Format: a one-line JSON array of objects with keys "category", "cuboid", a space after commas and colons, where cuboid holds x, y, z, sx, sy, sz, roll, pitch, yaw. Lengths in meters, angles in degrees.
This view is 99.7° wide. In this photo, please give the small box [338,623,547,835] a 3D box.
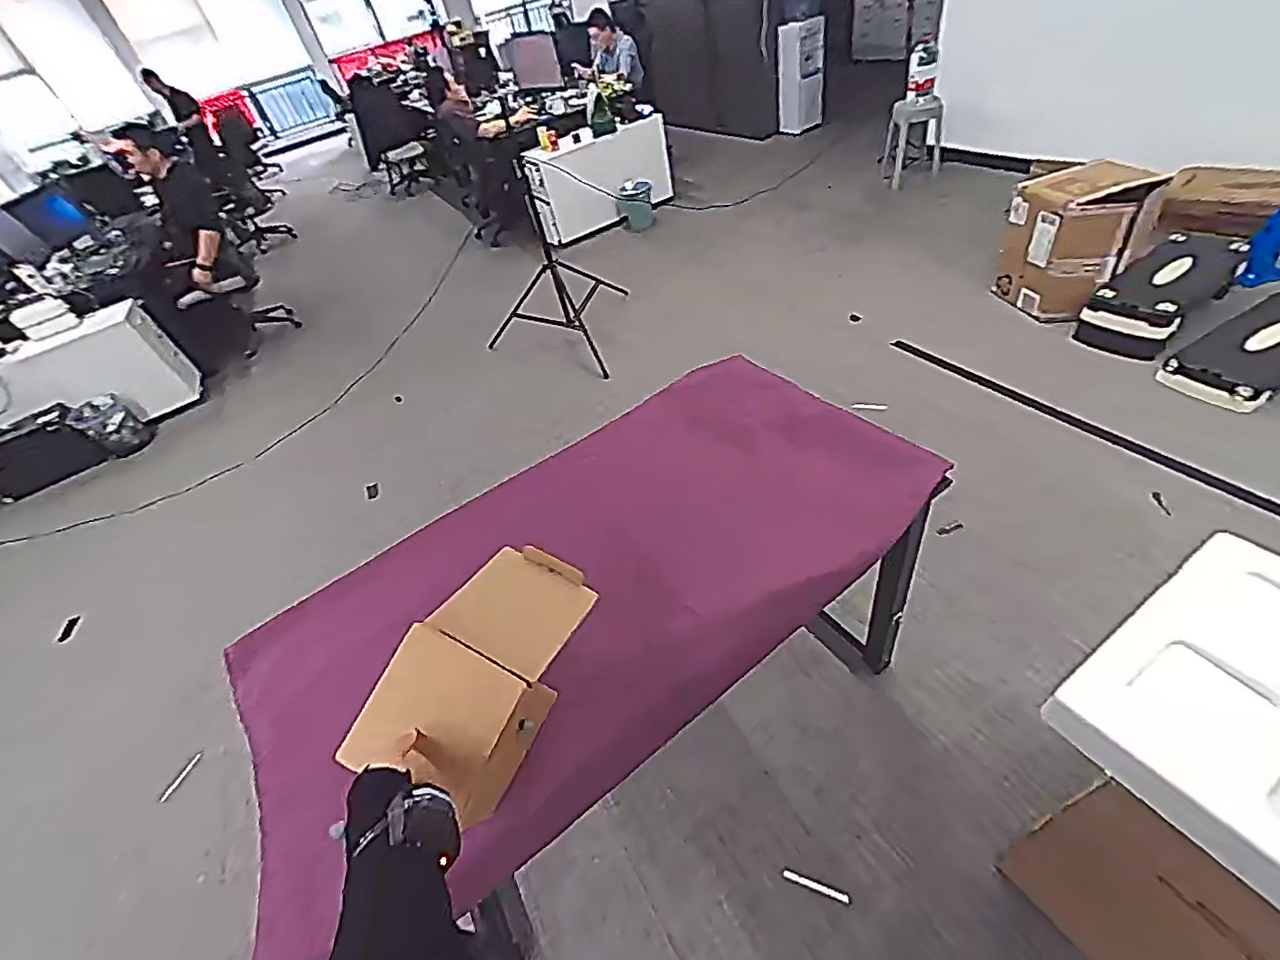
[{"category": "small box", "cuboid": [-0.238, 0.319, 0.708, 0.168, 0.176, 0.179, 27, 67, 14]}]
